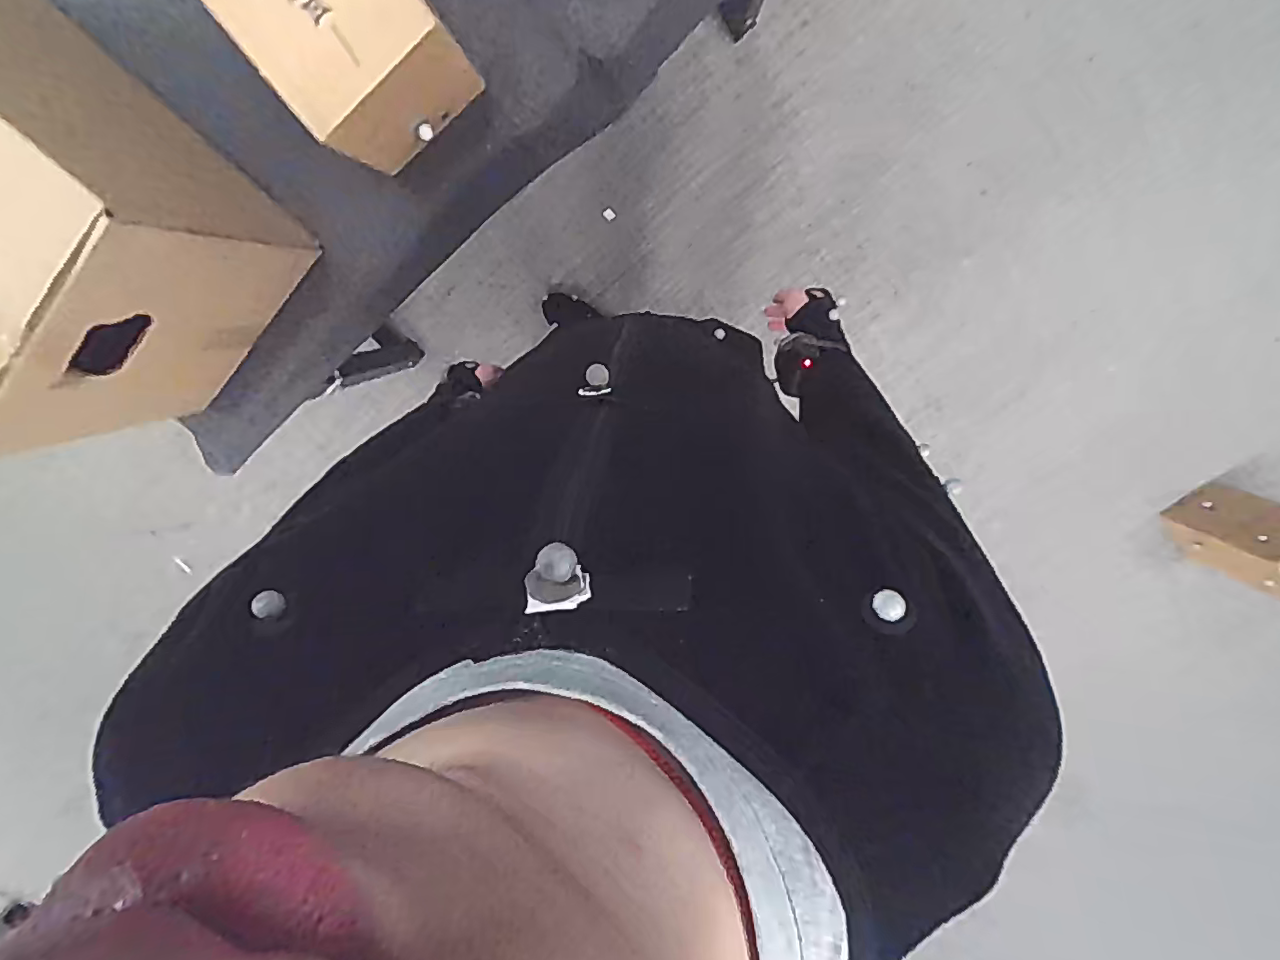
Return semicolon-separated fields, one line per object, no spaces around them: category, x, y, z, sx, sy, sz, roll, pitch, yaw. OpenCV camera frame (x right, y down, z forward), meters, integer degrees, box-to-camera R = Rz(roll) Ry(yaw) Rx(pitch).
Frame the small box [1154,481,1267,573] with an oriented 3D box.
small box;1.633;0.123;1.534;0.168;0.176;0.179;-40;104;14

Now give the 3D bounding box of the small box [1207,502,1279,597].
small box;1.629;0.176;1.380;0.168;0.176;0.179;-39;106;15
